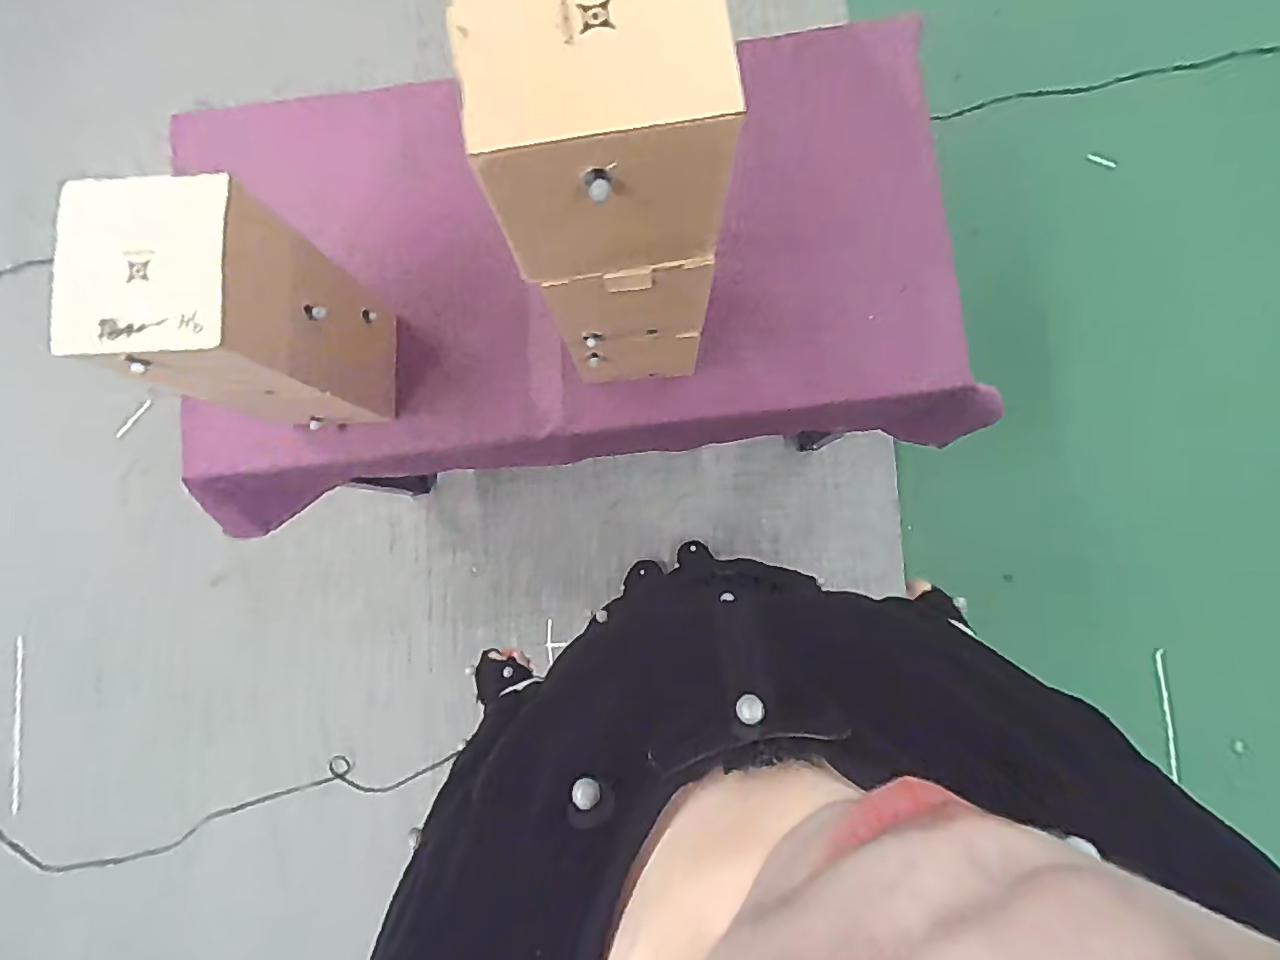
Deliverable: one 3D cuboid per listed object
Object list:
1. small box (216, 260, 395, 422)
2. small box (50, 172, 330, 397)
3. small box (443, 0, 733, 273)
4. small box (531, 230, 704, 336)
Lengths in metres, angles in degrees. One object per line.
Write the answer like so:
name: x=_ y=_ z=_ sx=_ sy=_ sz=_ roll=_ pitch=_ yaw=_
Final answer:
small box: x=-0.463 y=-0.185 z=0.758 sx=0.168 sy=0.176 sz=0.179 roll=-2 pitch=86 yaw=2
small box: x=-0.470 y=-0.200 z=0.594 sx=0.168 sy=0.176 sz=0.179 roll=-2 pitch=84 yaw=3
small box: x=-0.035 y=-0.286 z=0.423 sx=0.179 sy=0.176 sz=0.168 roll=-8 pitch=84 yaw=2
small box: x=-0.025 y=-0.268 z=0.584 sx=0.168 sy=0.176 sz=0.179 roll=-7 pitch=83 yaw=1
